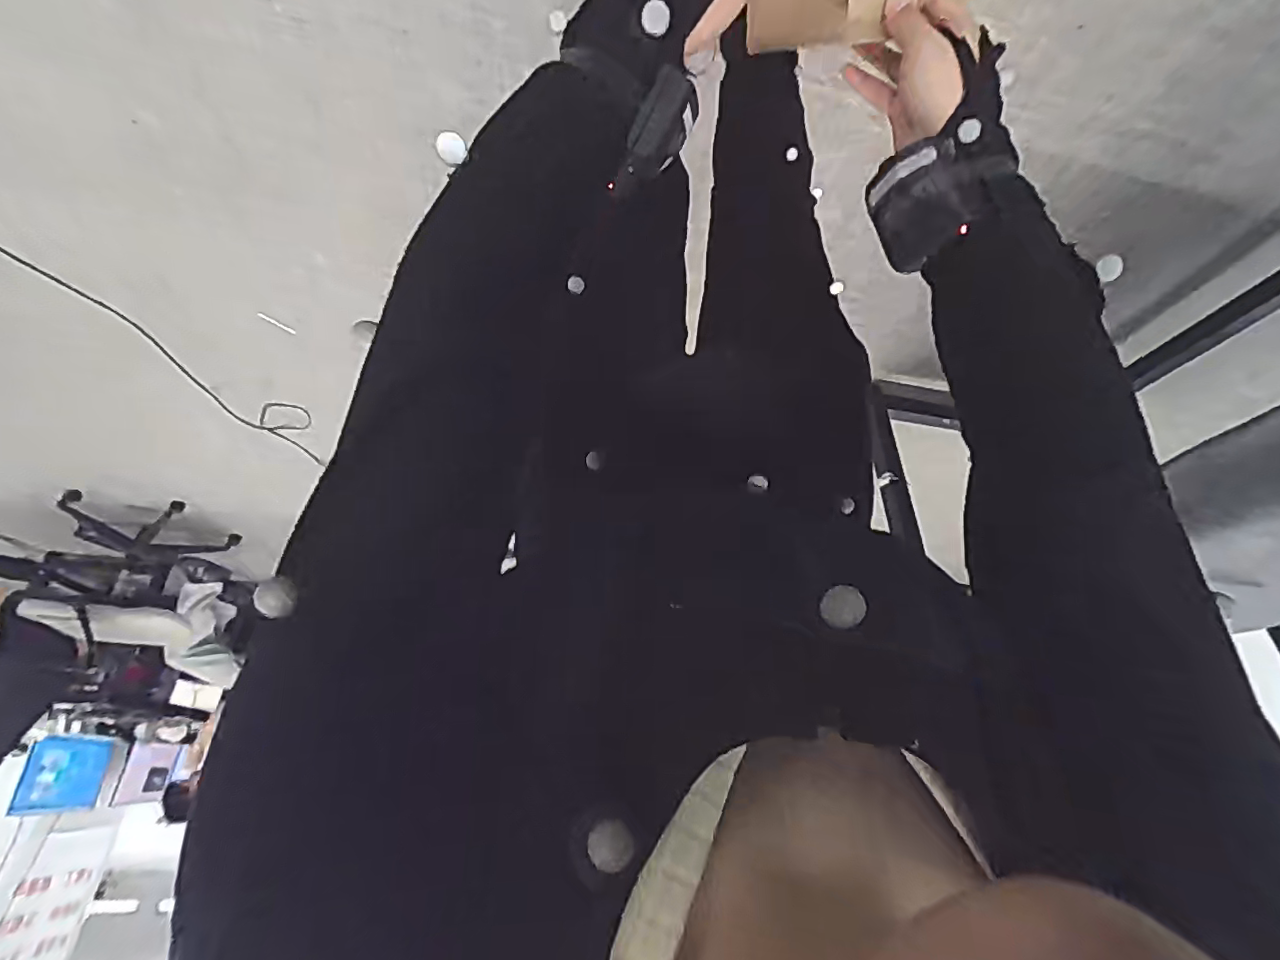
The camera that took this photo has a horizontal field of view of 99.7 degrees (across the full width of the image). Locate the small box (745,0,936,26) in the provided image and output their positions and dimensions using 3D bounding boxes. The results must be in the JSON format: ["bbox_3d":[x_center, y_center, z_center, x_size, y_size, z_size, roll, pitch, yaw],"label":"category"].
[{"bbox_3d":[0.160,-0.448,0.375,0.168,0.176,0.179,1,116,8],"label":"small box"}]
